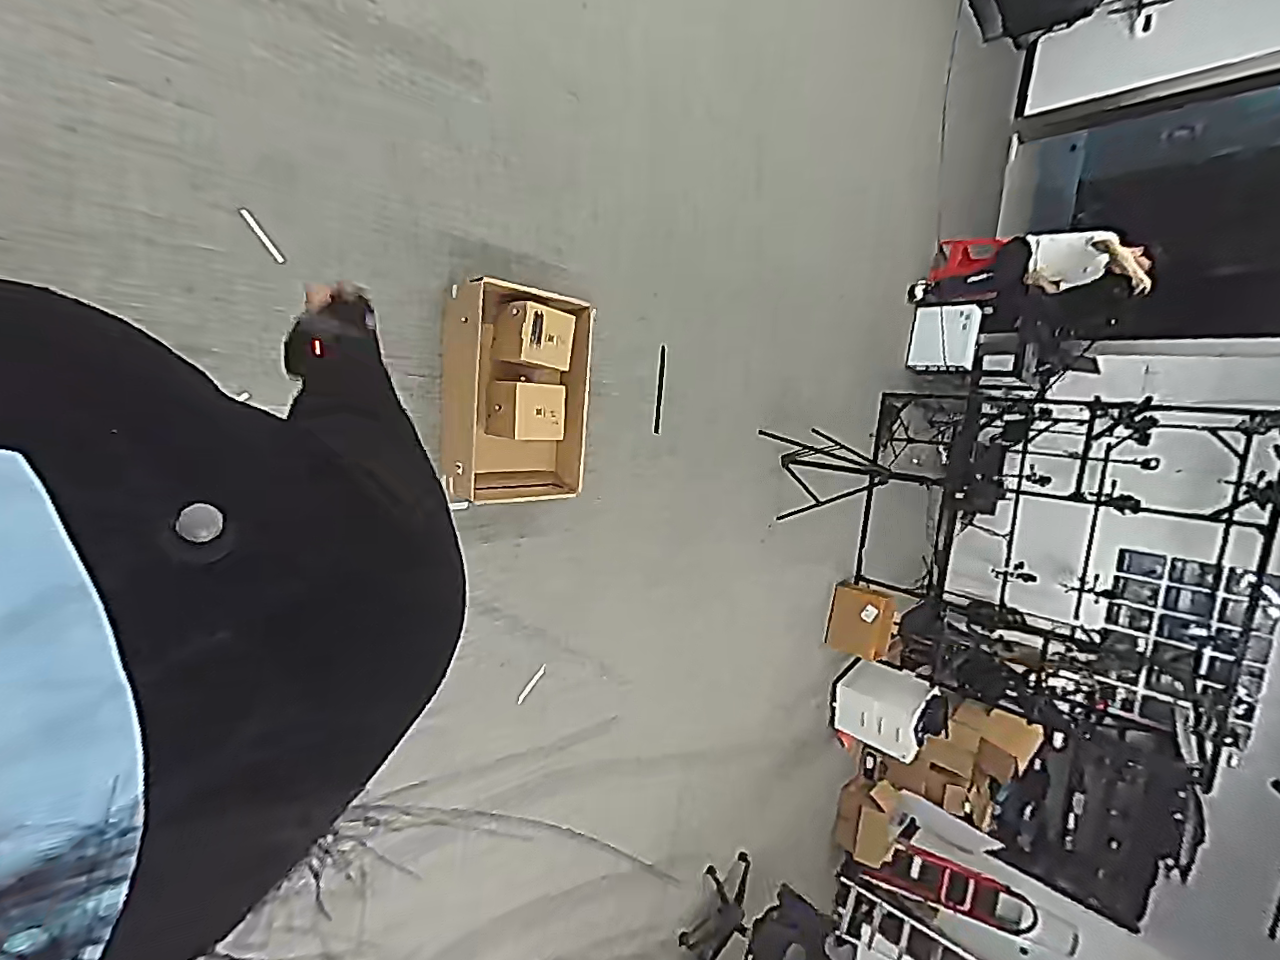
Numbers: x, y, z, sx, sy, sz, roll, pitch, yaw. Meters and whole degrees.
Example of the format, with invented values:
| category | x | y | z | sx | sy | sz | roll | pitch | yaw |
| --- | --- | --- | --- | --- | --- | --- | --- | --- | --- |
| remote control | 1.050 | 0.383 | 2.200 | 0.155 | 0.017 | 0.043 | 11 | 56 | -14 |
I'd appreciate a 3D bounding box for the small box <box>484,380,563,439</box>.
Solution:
| category | x | y | z | sx | sy | sz | roll | pitch | yaw |
| --- | --- | --- | --- | --- | --- | --- | --- | --- | --- |
| small box | -0.355 | -0.215 | 1.639 | 0.179 | 0.176 | 0.168 | -4 | 102 | -46 |
